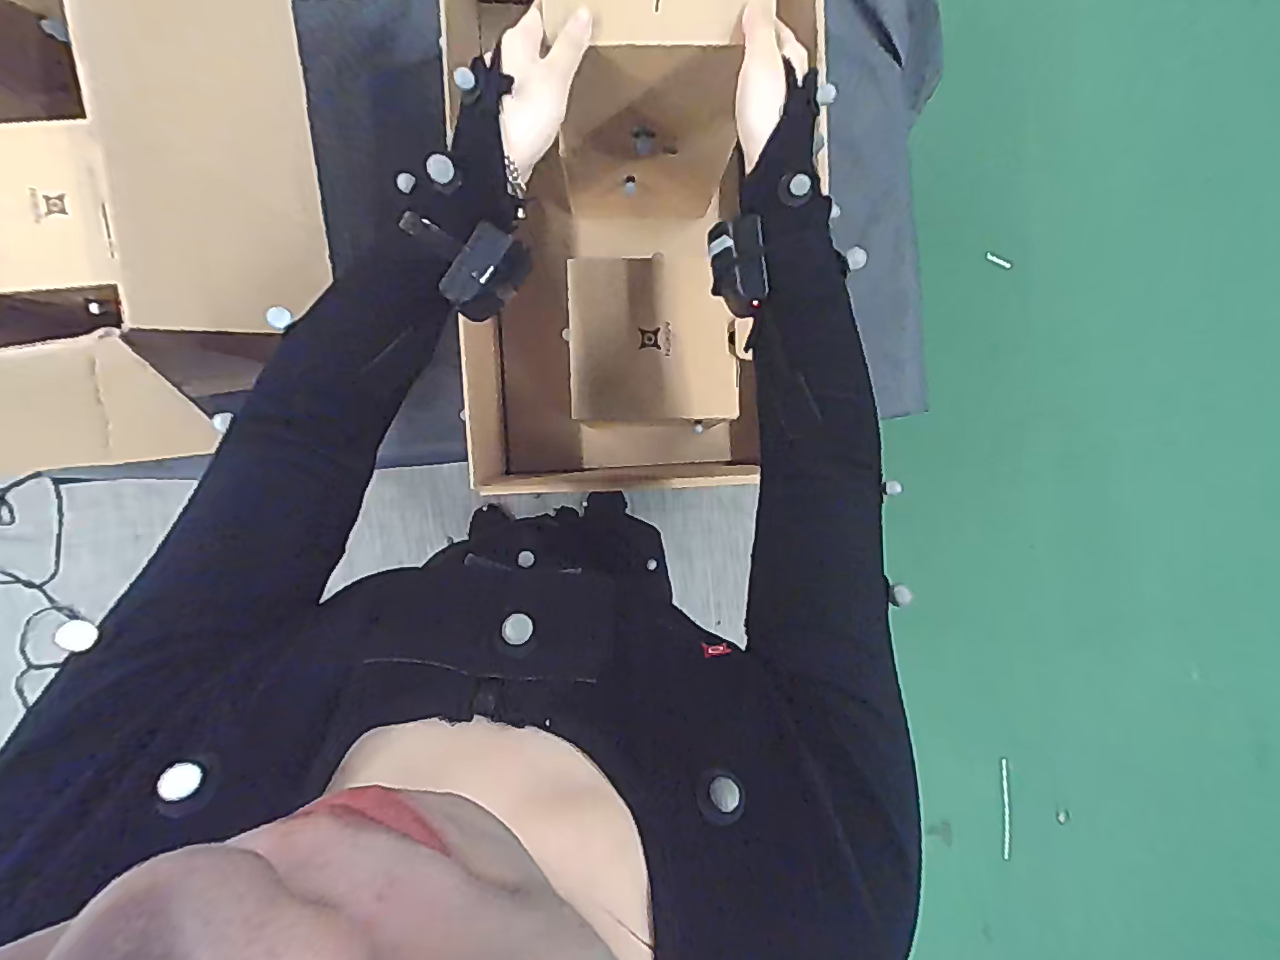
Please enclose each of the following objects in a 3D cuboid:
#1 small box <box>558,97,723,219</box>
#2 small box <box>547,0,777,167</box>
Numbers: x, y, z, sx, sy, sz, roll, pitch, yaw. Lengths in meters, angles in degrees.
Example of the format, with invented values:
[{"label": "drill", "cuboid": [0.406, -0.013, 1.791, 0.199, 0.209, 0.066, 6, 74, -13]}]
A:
[{"label": "small box", "cuboid": [0.003, -0.412, 0.618, 0.179, 0.176, 0.168, -1, 96, -1]}, {"label": "small box", "cuboid": [0.011, -0.395, 0.454, 0.168, 0.176, 0.179, -2, 96, -2]}]
